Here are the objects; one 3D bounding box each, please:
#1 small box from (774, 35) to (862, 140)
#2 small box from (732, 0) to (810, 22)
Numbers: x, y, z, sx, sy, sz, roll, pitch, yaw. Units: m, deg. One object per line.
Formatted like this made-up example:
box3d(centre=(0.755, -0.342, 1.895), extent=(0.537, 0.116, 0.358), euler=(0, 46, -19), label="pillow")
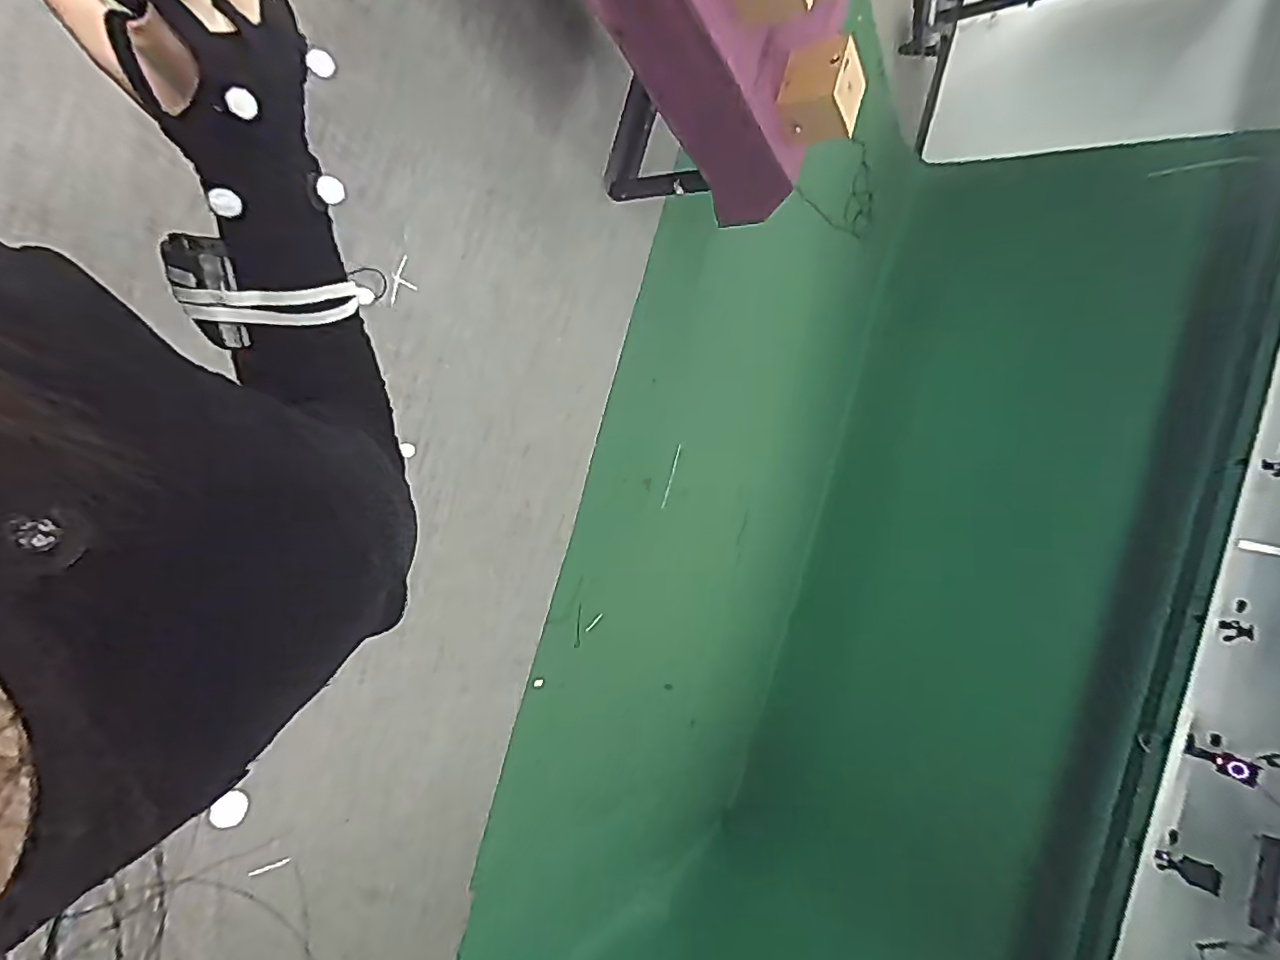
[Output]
box3d(centre=(0.497, -1.085, 1.514), extent=(0.179, 0.176, 0.168), euler=(16, 90, -55), label="small box")
box3d(centre=(0.289, -1.173, 1.195), extent=(0.179, 0.176, 0.168), euler=(23, 84, -56), label="small box")
